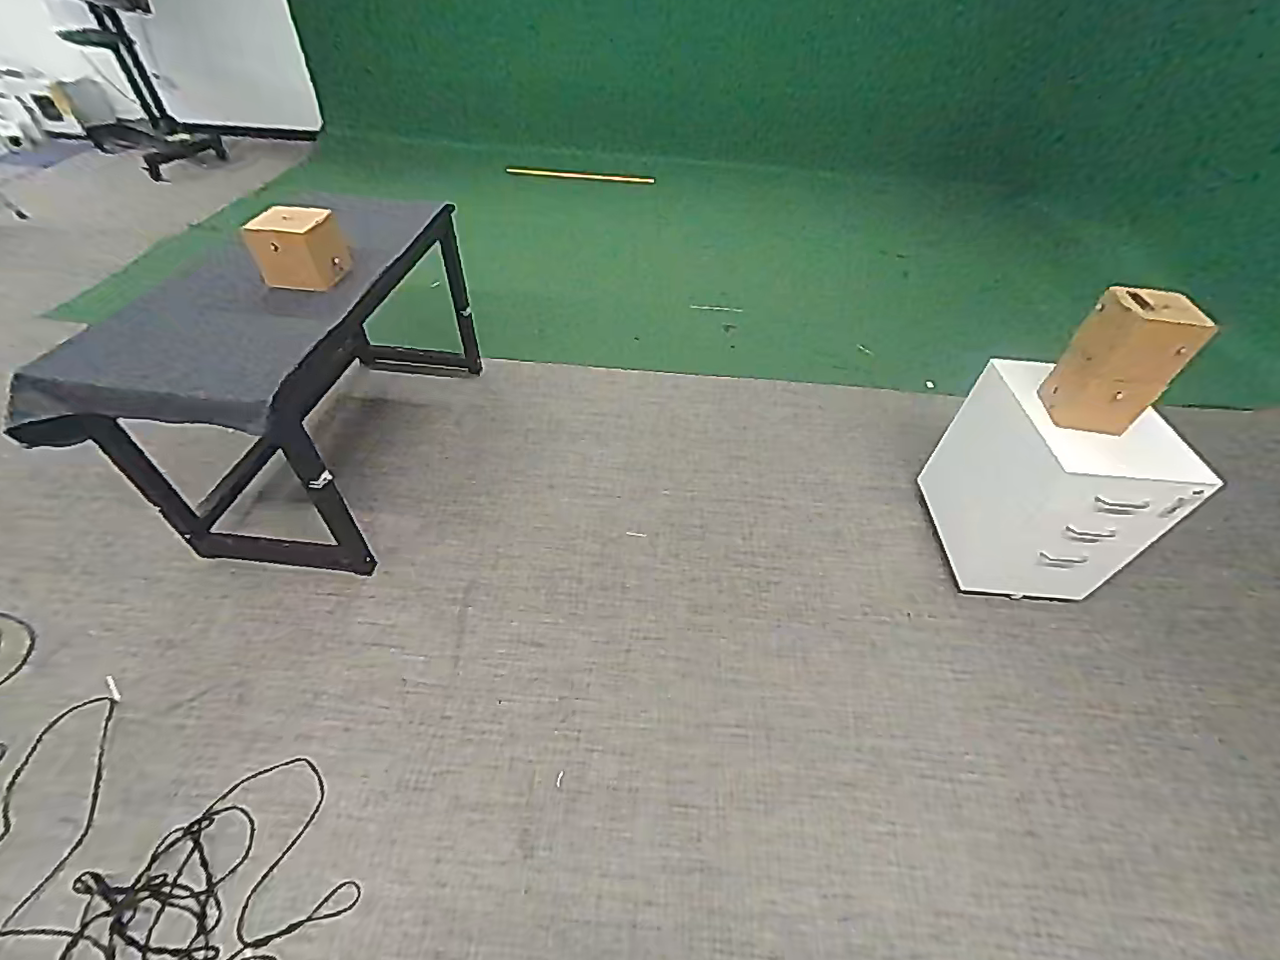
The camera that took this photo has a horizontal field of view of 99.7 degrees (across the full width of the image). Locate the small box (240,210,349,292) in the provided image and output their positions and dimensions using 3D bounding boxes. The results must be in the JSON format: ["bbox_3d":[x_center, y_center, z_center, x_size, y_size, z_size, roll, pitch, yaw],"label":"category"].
[{"bbox_3d":[-0.974,-0.652,1.544,0.179,0.176,0.168,5,46,2],"label":"small box"}]

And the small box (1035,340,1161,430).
[{"bbox_3d":[1.235,-0.255,1.476,0.179,0.176,0.168,9,46,5],"label":"small box"}]
